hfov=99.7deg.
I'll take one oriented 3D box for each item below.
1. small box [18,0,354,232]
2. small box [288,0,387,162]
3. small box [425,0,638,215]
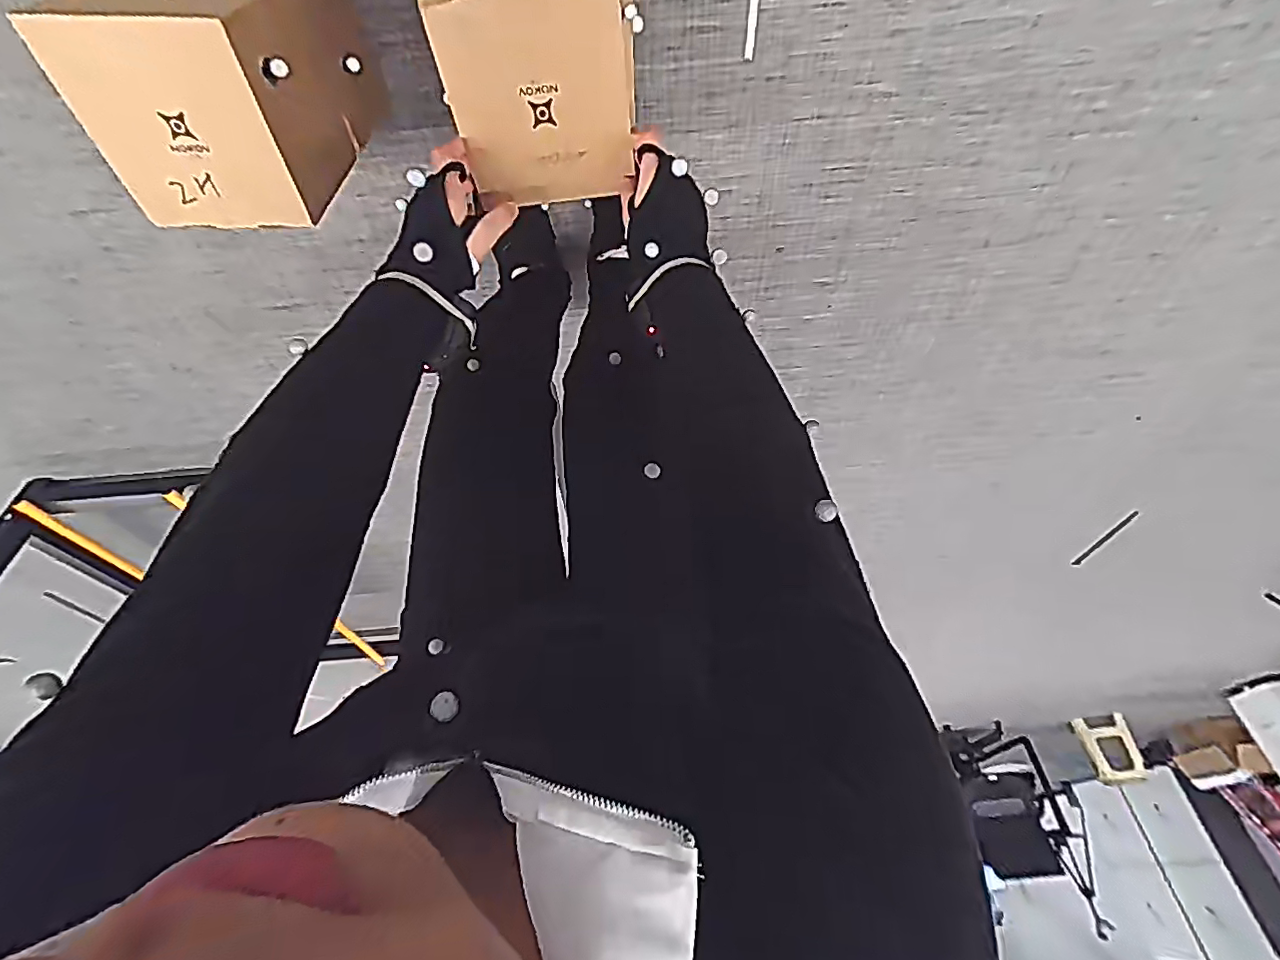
[{"bbox_3d":[-0.422,-0.378,0.548,0.168,0.176,0.179,-1,143,-3],"label":"small box"},{"bbox_3d":[-0.432,-0.508,0.651,0.168,0.176,0.179,-4,144,1],"label":"small box"},{"bbox_3d":[-0.094,-0.405,0.549,0.168,0.176,0.179,-5,145,3],"label":"small box"}]
